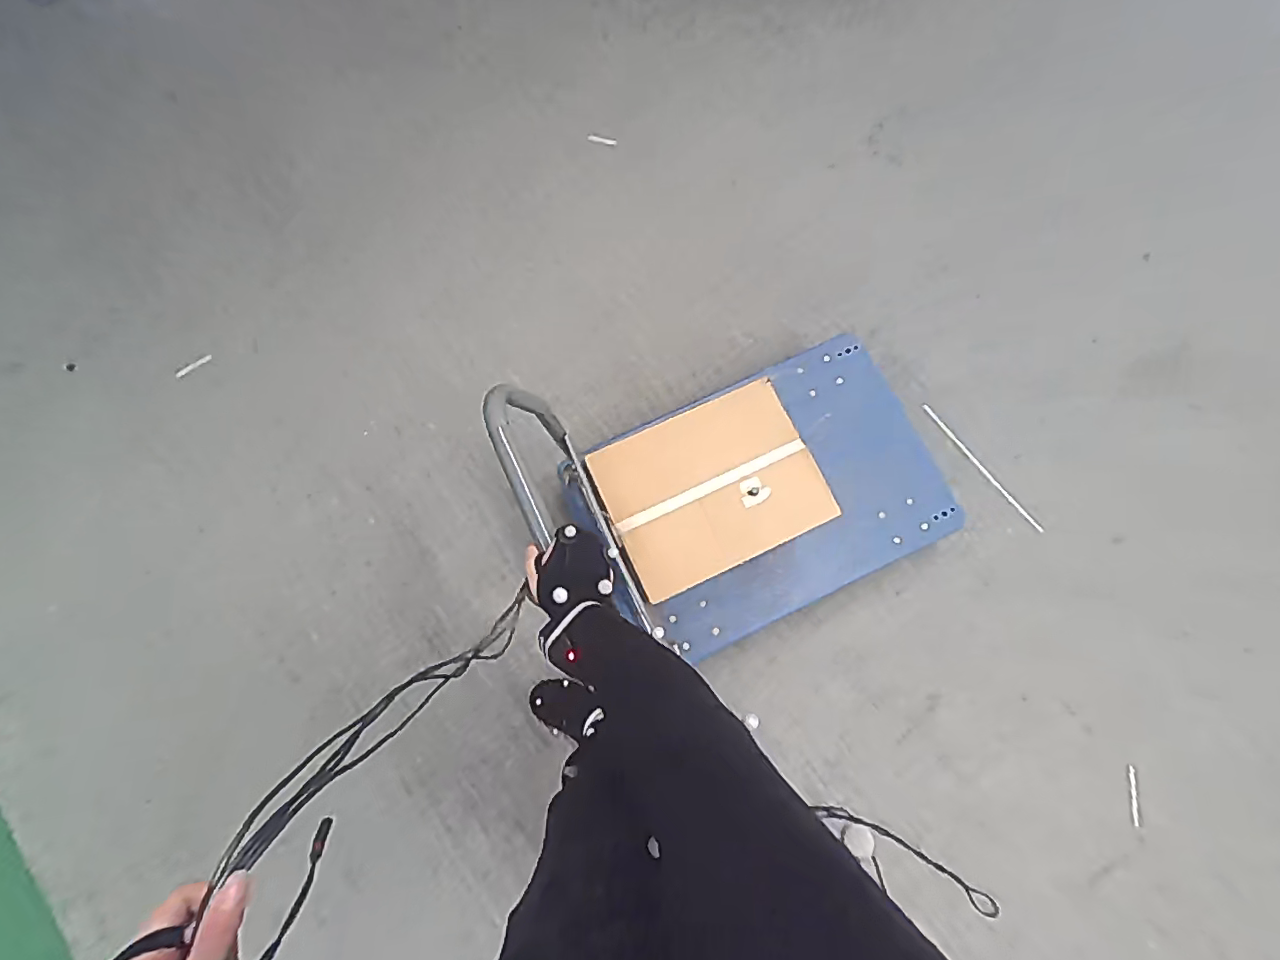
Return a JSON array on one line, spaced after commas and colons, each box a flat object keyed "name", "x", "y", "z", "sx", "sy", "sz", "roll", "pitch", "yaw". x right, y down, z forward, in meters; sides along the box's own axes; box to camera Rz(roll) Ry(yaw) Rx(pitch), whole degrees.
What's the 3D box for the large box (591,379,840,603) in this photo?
[{"name": "large box", "x": 0.140, "y": 0.044, "z": 1.188, "sx": 0.408, "sy": 0.320, "sz": 0.320, "roll": -24, "pitch": 79, "yaw": -7}]
